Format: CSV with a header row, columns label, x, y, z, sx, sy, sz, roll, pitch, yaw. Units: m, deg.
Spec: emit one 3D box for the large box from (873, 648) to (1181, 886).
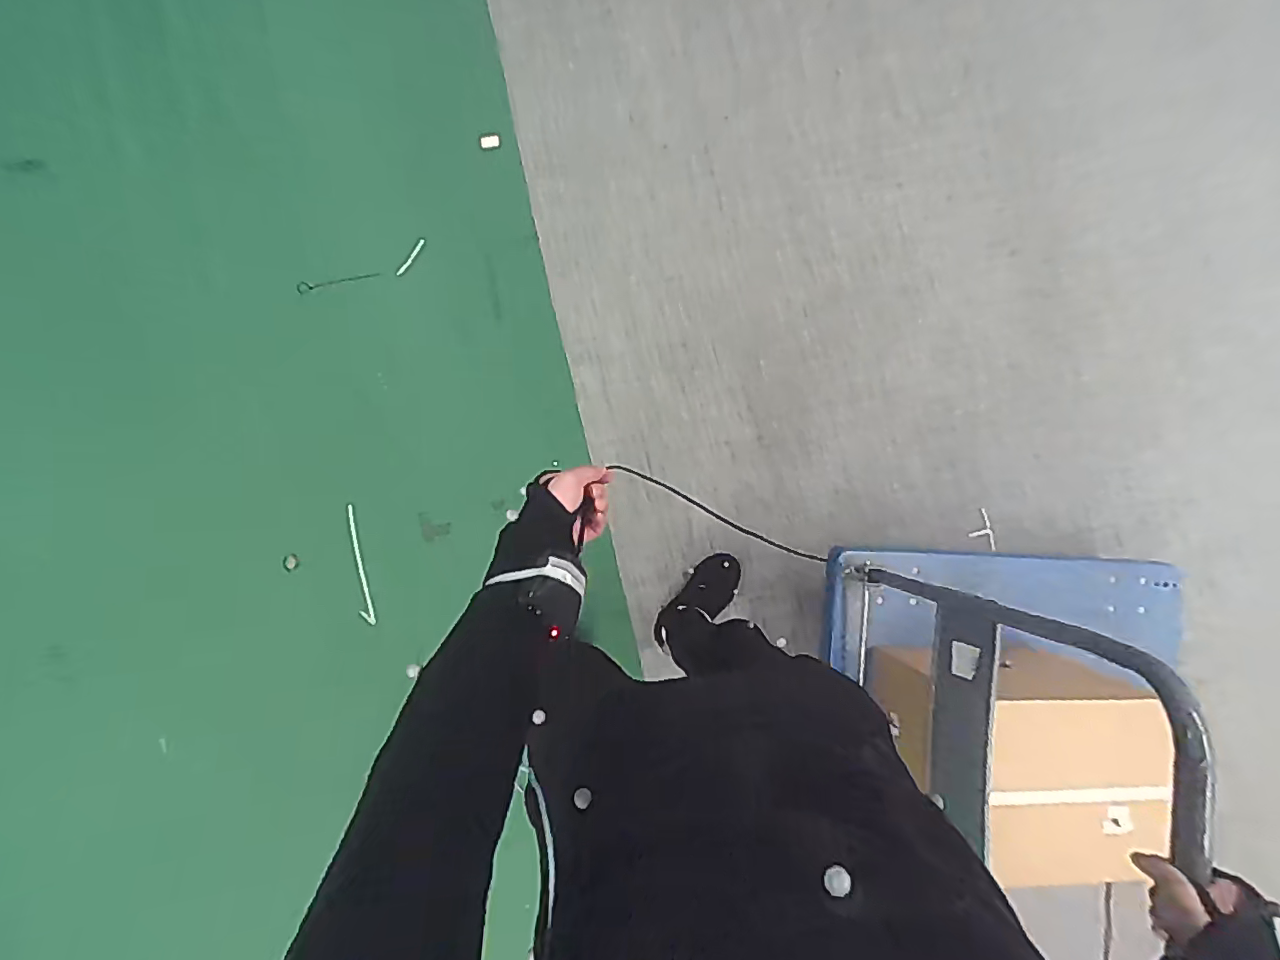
label,x,y,z,sx,sy,sz,roll,pitch,yaw
large box,0.727,0.528,1.070,0.408,0.320,0.320,2,89,-8
